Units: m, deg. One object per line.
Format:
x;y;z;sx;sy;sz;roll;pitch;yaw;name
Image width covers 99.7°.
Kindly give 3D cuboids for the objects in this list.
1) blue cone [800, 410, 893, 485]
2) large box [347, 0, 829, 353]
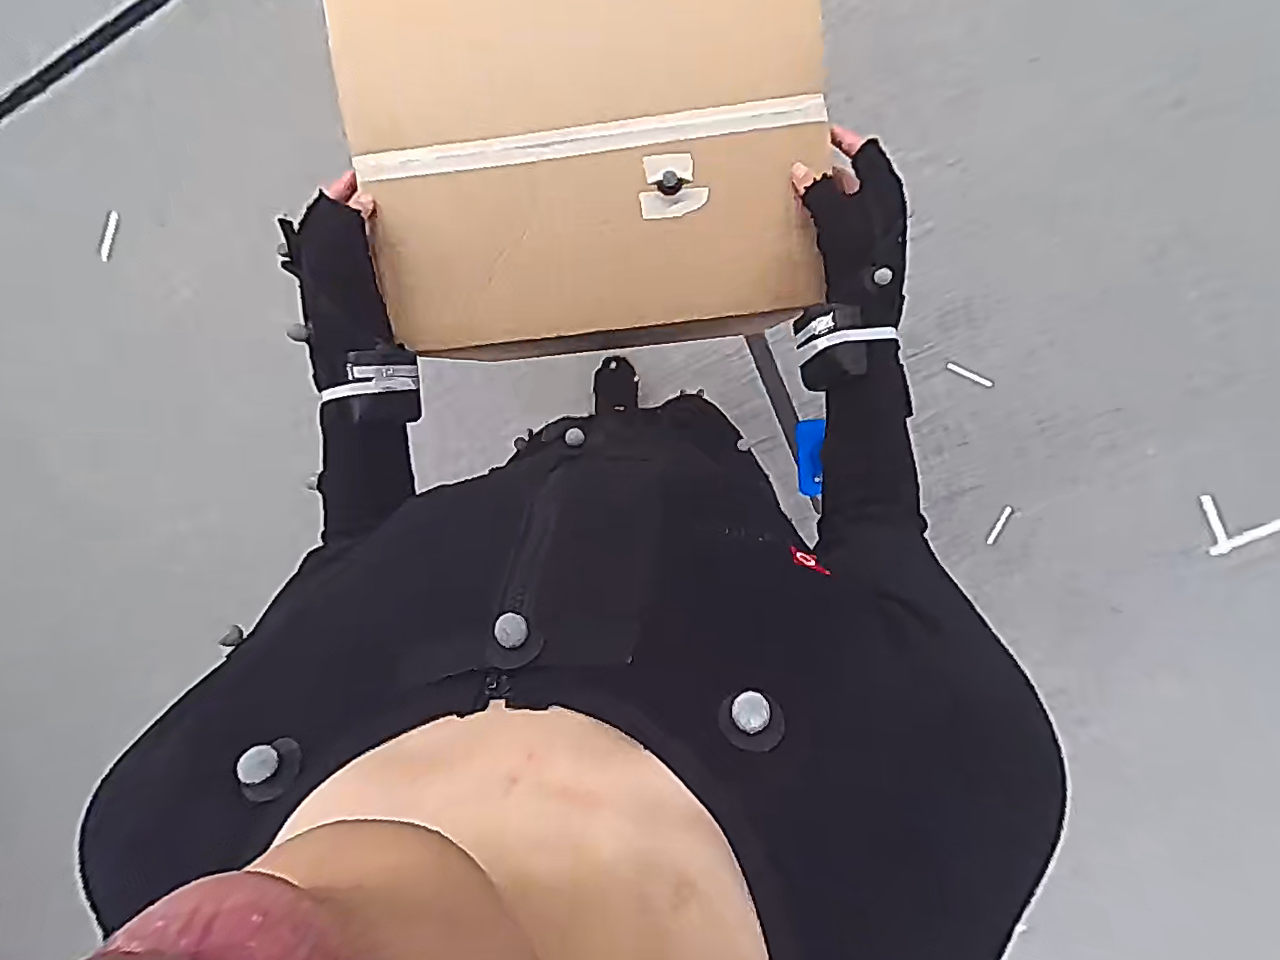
0.501;-0.057;1.248;0.193;0.380;0.192;-2;98;6;blue cone
-0.039;-0.330;0.619;0.408;0.320;0.320;-5;101;2;large box
